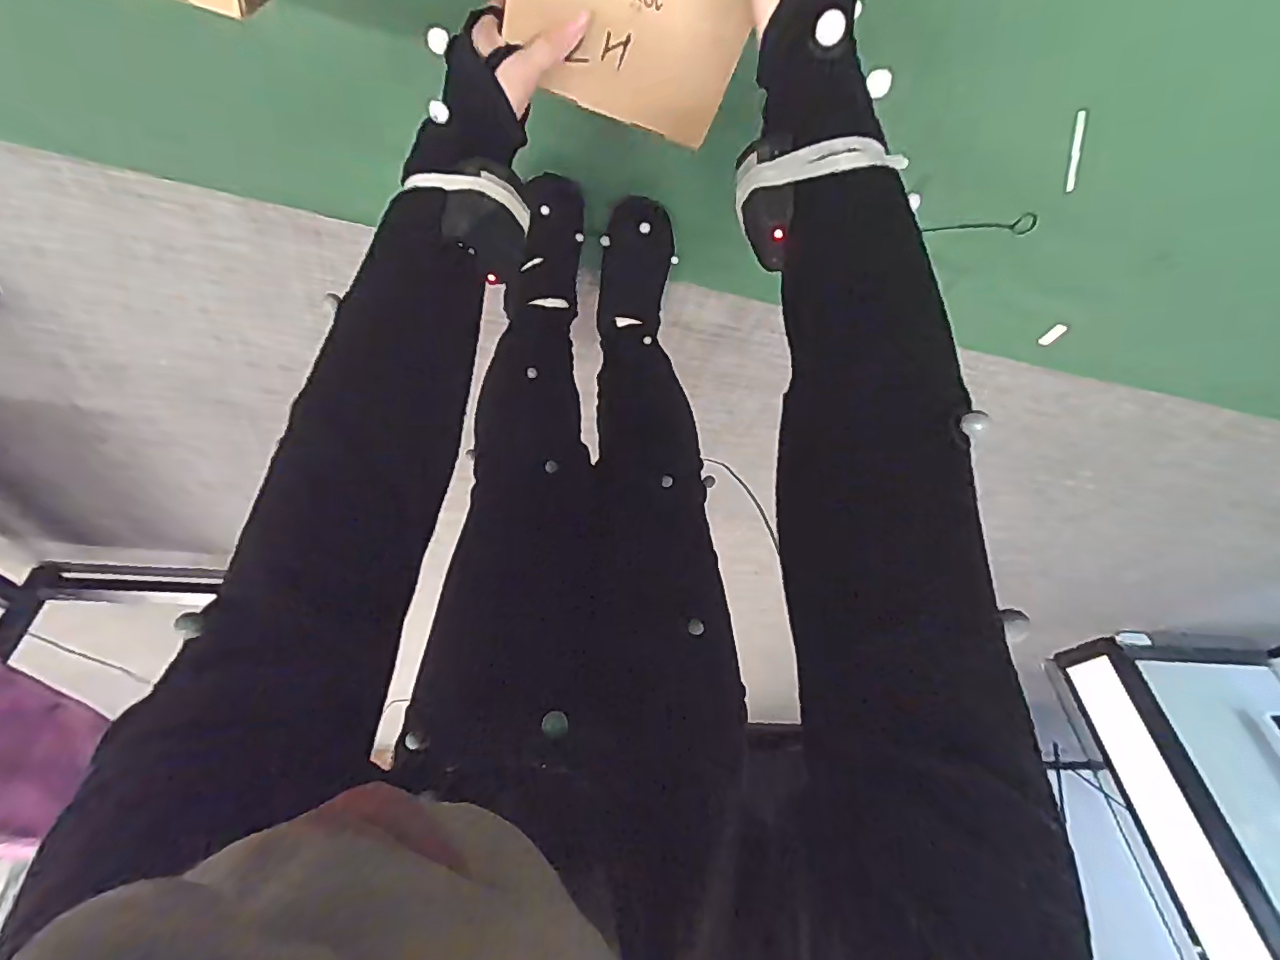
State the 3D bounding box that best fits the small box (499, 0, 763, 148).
[{"bbox_3d":[-0.001,-0.399,0.399,0.168,0.176,0.179,11,144,-17],"label":"small box"}]
